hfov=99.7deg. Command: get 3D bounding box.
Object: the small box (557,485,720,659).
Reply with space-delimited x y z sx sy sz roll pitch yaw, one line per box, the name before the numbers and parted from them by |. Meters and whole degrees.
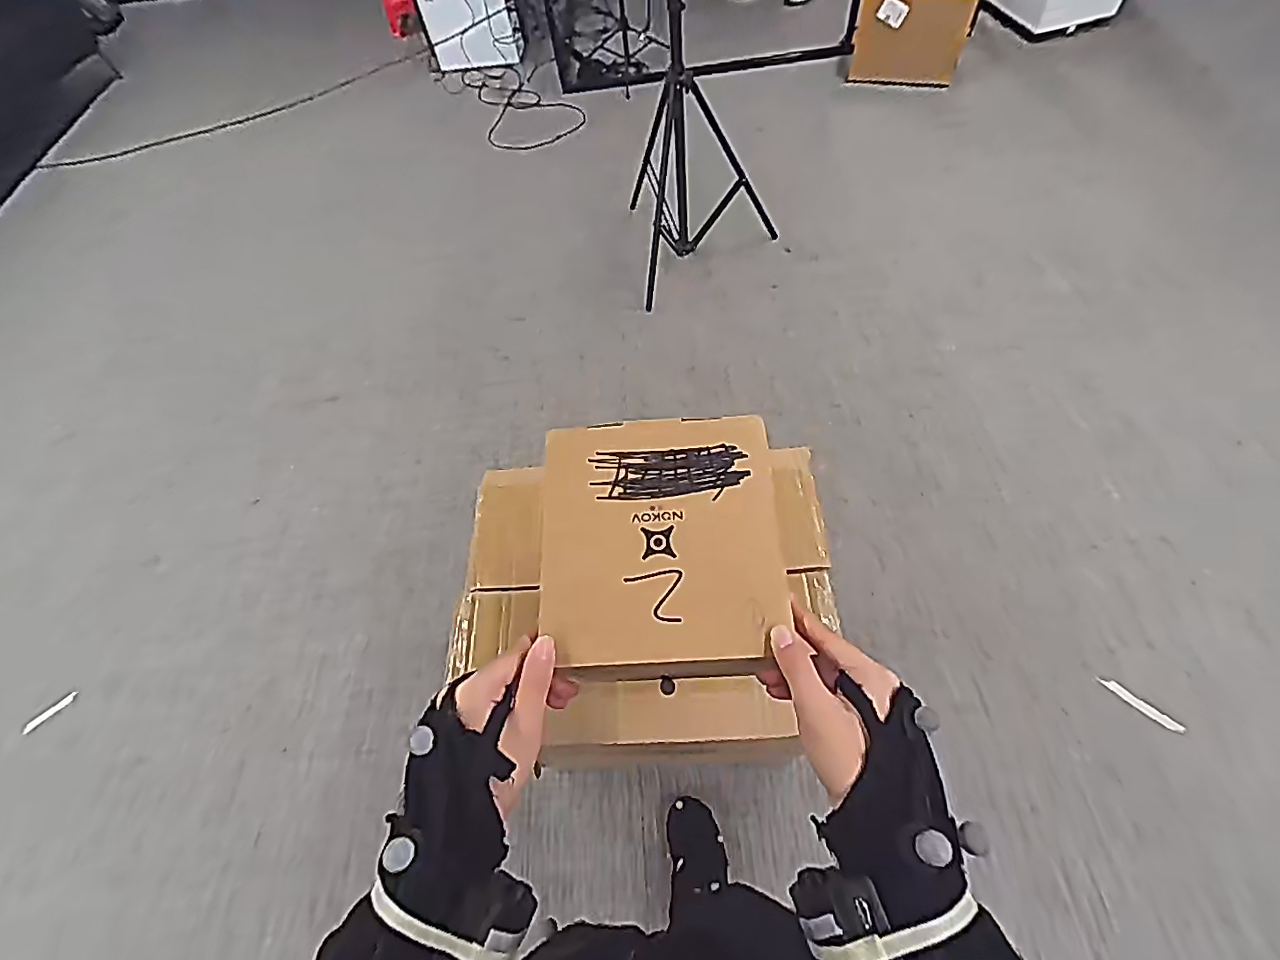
small box | 0.005 0.121 0.672 0.179 0.176 0.168 -4 60 4
